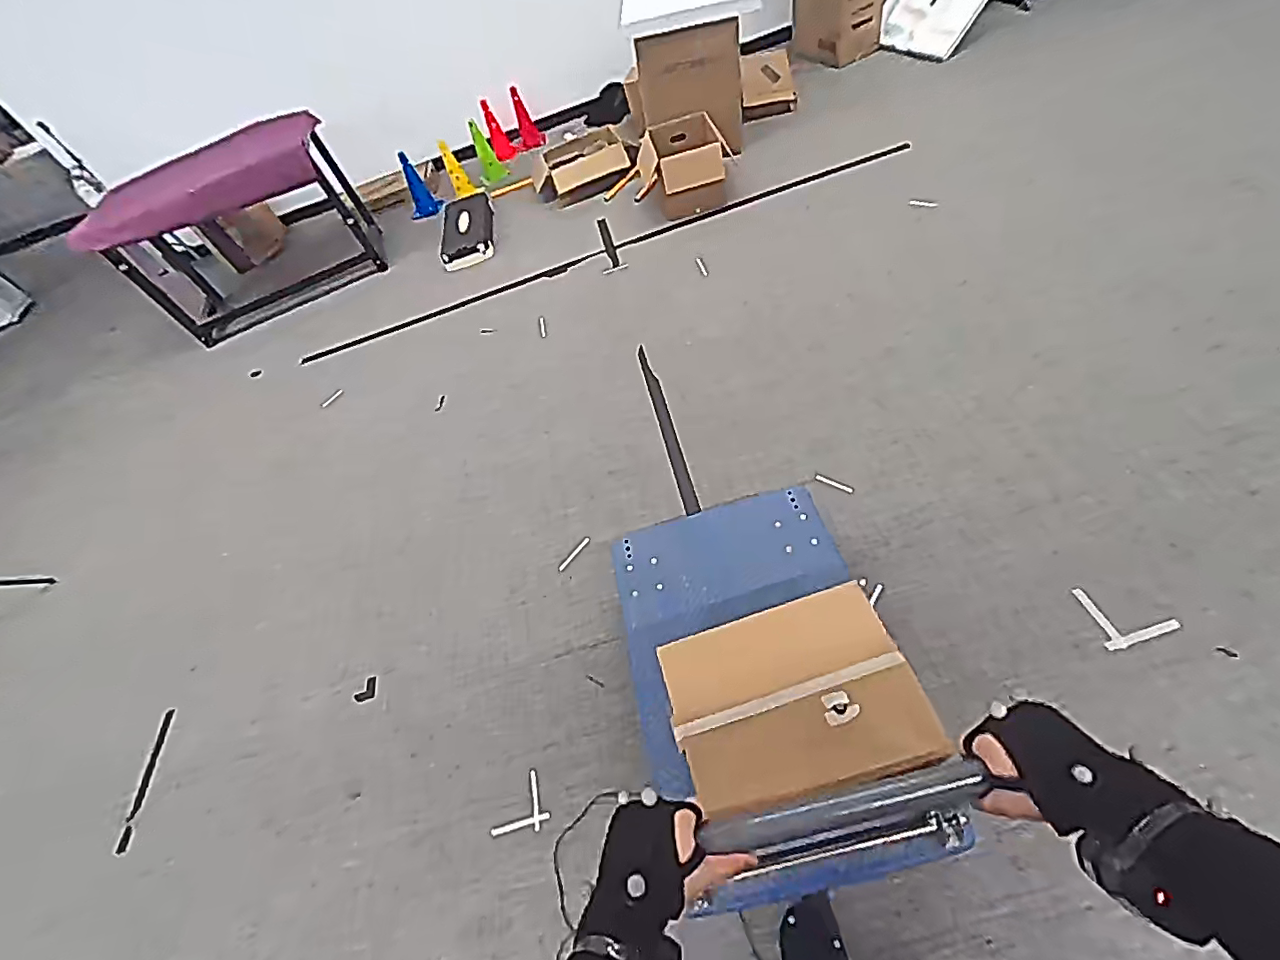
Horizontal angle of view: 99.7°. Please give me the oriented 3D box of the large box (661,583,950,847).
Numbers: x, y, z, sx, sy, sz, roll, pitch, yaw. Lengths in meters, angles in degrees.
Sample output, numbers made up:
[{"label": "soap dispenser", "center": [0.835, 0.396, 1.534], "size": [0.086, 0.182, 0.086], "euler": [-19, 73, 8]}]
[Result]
[{"label": "large box", "center": [0.293, 0.462, 1.050], "size": [0.408, 0.320, 0.320], "euler": [-19, 51, 0]}]
